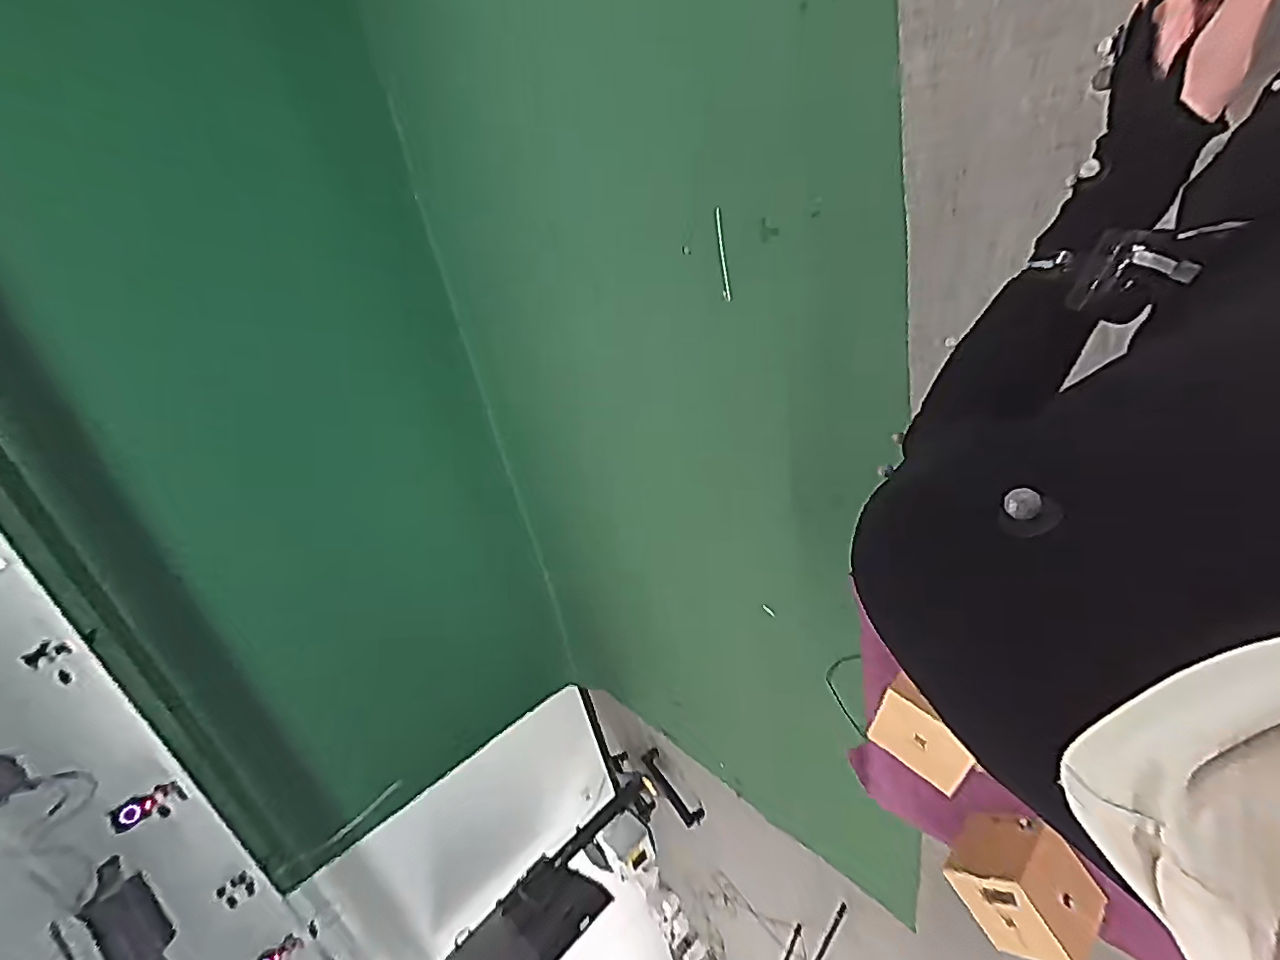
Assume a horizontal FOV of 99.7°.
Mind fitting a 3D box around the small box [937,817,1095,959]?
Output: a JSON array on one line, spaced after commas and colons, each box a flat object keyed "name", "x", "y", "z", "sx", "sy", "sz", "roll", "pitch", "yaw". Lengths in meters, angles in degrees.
[{"name": "small box", "x": 0.737, "y": 0.802, "z": 1.063, "sx": 0.179, "sy": 0.176, "sz": 0.168, "roll": 56, "pitch": 145, "yaw": 9}]

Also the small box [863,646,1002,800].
[{"name": "small box", "x": 0.564, "y": 0.460, "z": 1.044, "sx": 0.168, "sy": 0.176, "sz": 0.179, "roll": 31, "pitch": 138, "yaw": 35}]
